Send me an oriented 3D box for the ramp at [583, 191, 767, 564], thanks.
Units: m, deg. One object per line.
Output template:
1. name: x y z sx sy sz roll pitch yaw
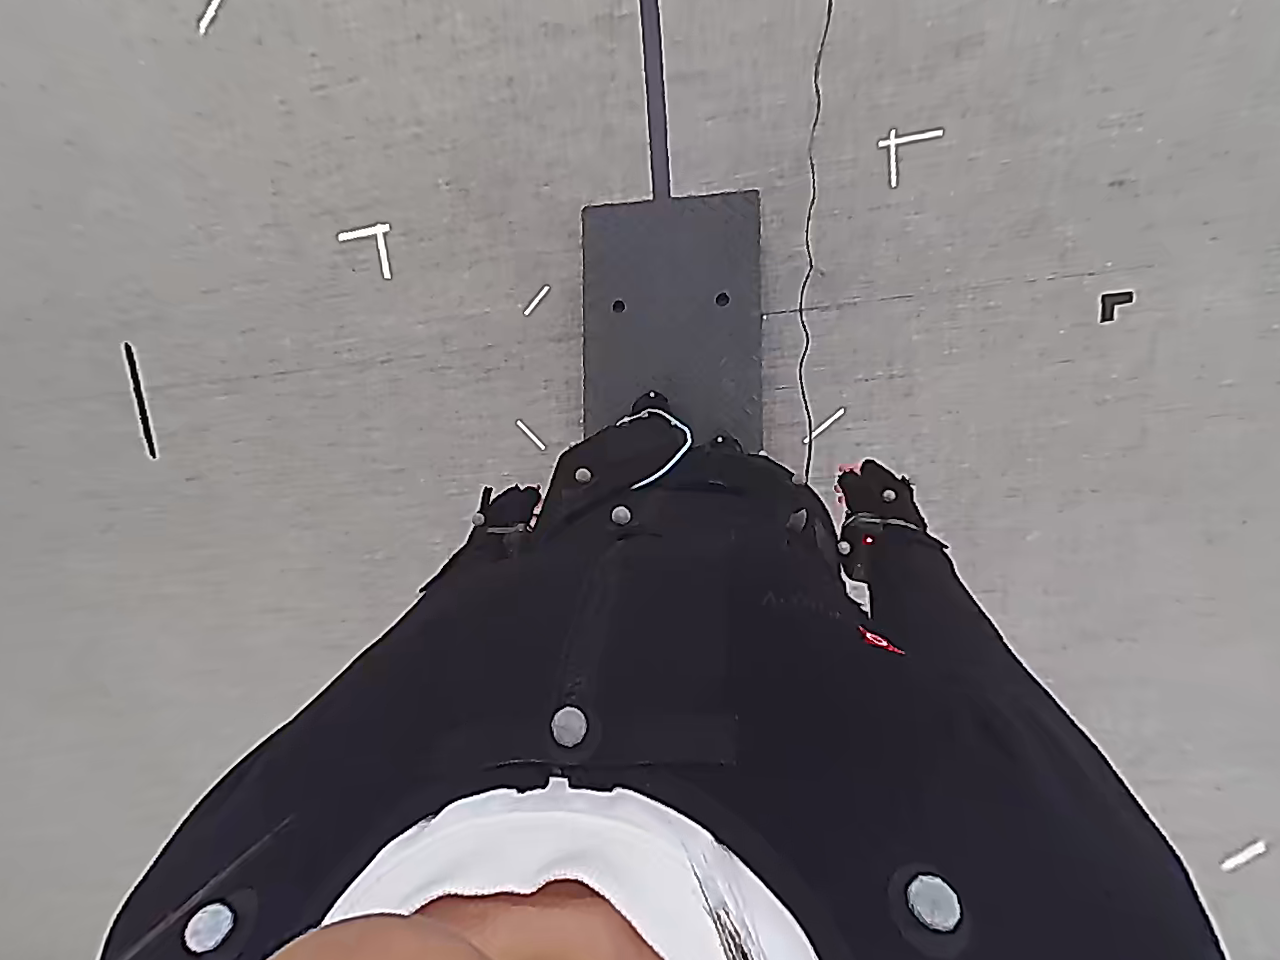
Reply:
1. ramp: 0.084 -0.273 1.473 0.509 0.206 0.991 -3 98 10
